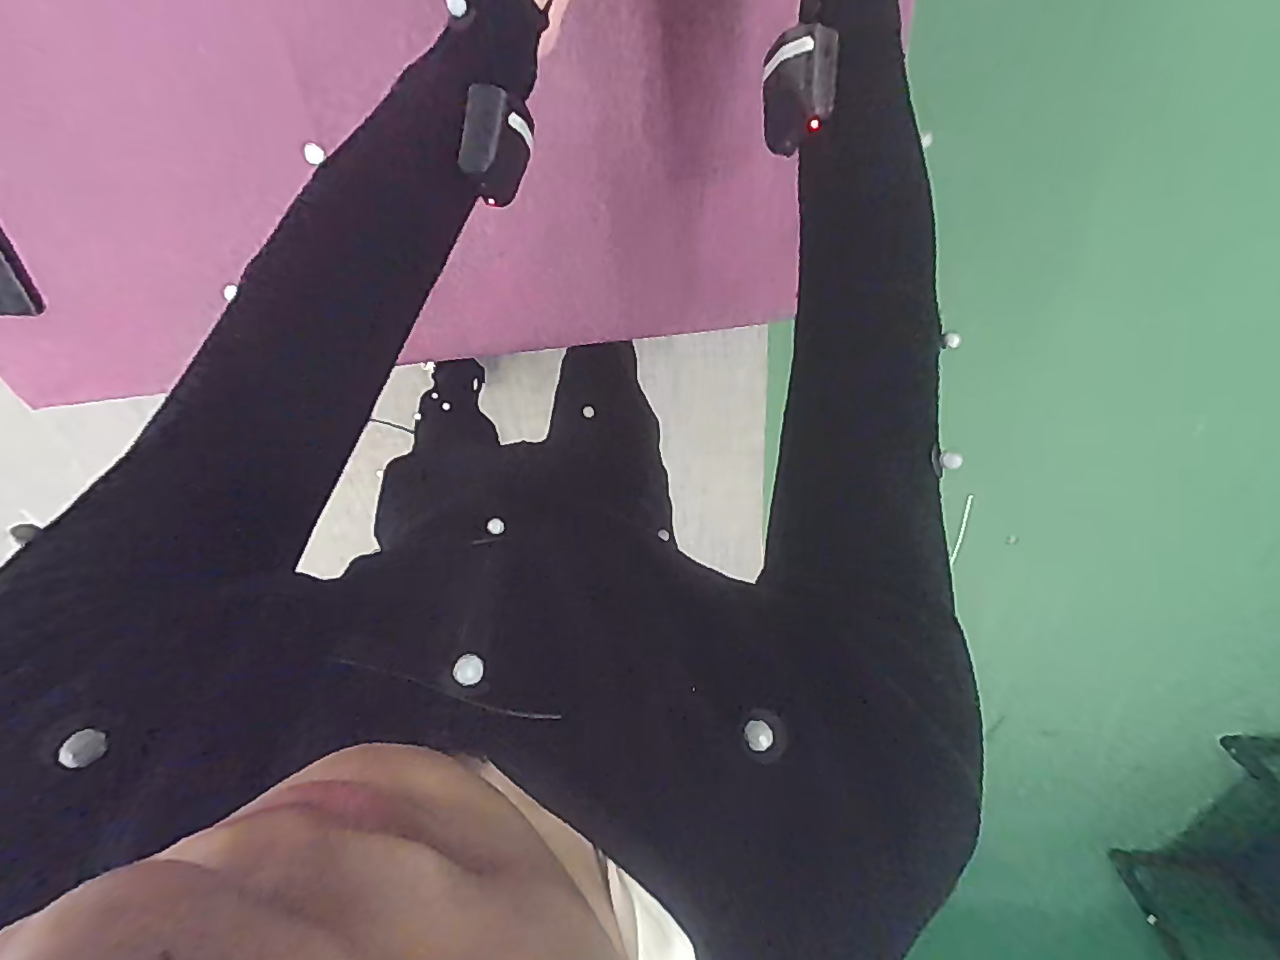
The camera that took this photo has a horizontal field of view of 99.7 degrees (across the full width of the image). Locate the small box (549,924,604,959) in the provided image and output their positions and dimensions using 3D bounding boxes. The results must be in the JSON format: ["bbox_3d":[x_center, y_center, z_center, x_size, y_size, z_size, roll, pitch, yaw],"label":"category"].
[{"bbox_3d":[-0.213,1.627,1.817,0.168,0.176,0.179,-2,124,2],"label":"small box"}]

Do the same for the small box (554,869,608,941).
[{"bbox_3d":[-0.208,1.539,1.954,0.168,0.176,0.179,-3,123,3],"label":"small box"}]

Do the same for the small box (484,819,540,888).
[{"bbox_3d":[-0.492,1.453,2.104,0.168,0.176,0.179,1,123,1],"label":"small box"}]
